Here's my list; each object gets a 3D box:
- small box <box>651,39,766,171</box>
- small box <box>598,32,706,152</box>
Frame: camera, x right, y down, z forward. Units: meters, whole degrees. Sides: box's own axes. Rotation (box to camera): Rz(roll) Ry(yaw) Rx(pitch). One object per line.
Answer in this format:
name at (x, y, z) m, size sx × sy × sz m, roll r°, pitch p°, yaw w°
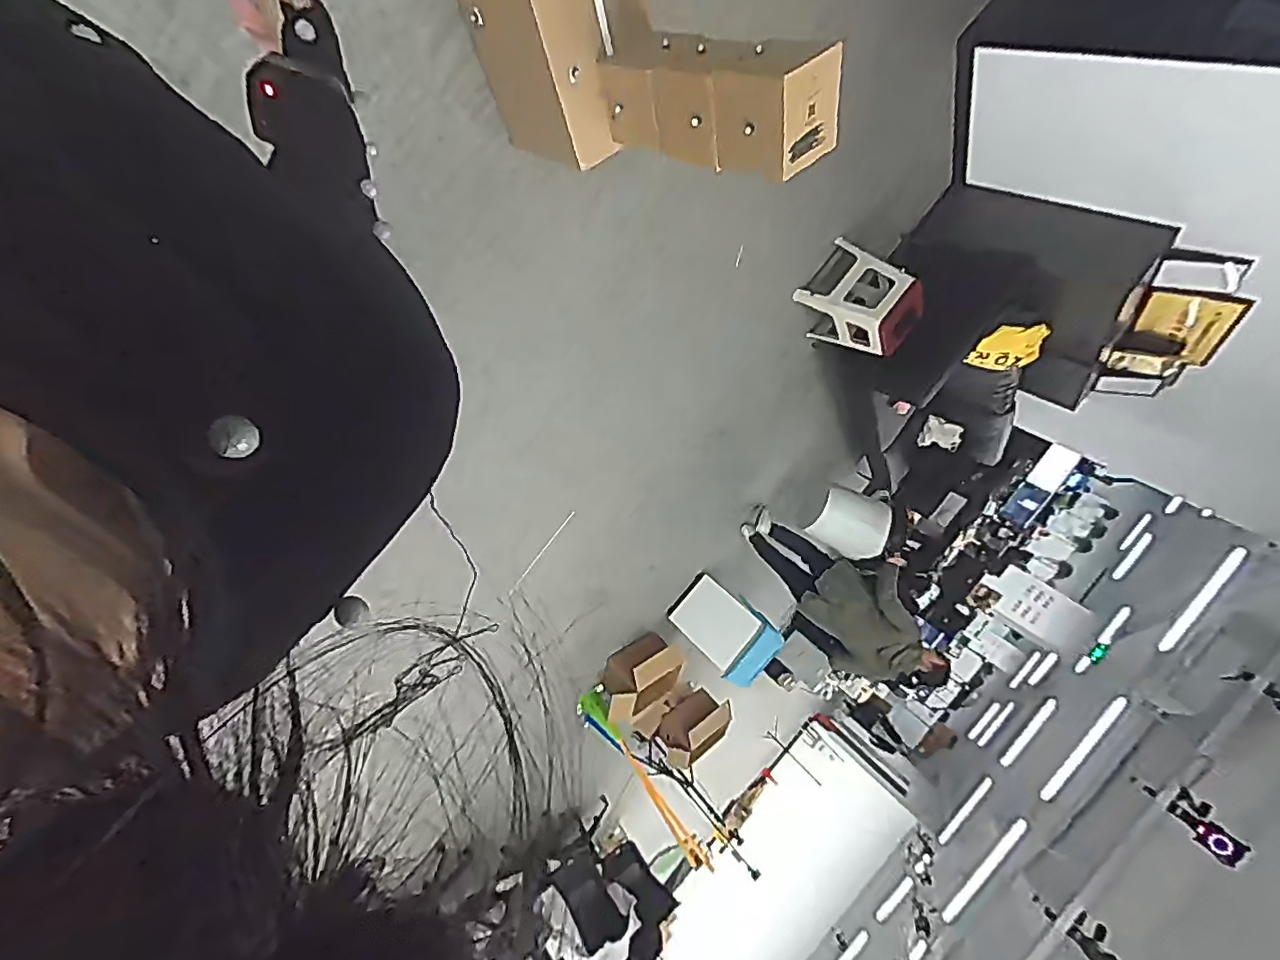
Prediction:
small box at (0.145, -0.786, 1.130) m, size 0.168 × 0.176 × 0.179 m, roll -41°, pitch 144°, yaw -18°
small box at (0.036, -0.874, 1.213) m, size 0.179 × 0.176 × 0.168 m, roll -41°, pitch 145°, yaw -16°
